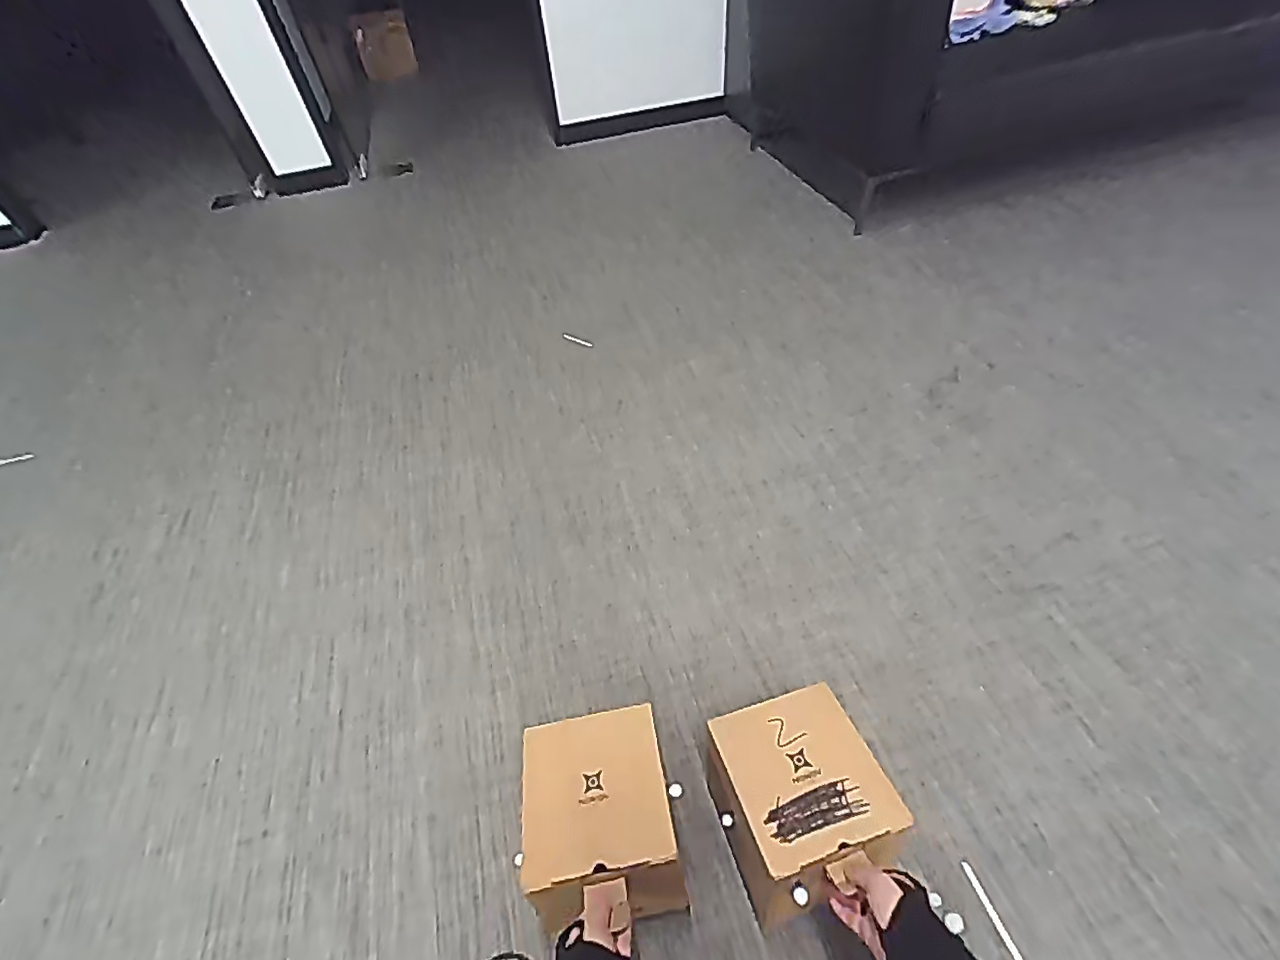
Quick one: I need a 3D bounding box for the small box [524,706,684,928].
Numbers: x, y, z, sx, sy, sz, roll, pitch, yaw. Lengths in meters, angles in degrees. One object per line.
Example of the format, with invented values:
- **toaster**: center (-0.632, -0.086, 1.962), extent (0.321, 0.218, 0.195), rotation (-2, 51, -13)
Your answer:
- **small box**: center (-0.044, 0.419, 0.677), extent (0.168, 0.176, 0.179), rotation (-11, 40, -3)
